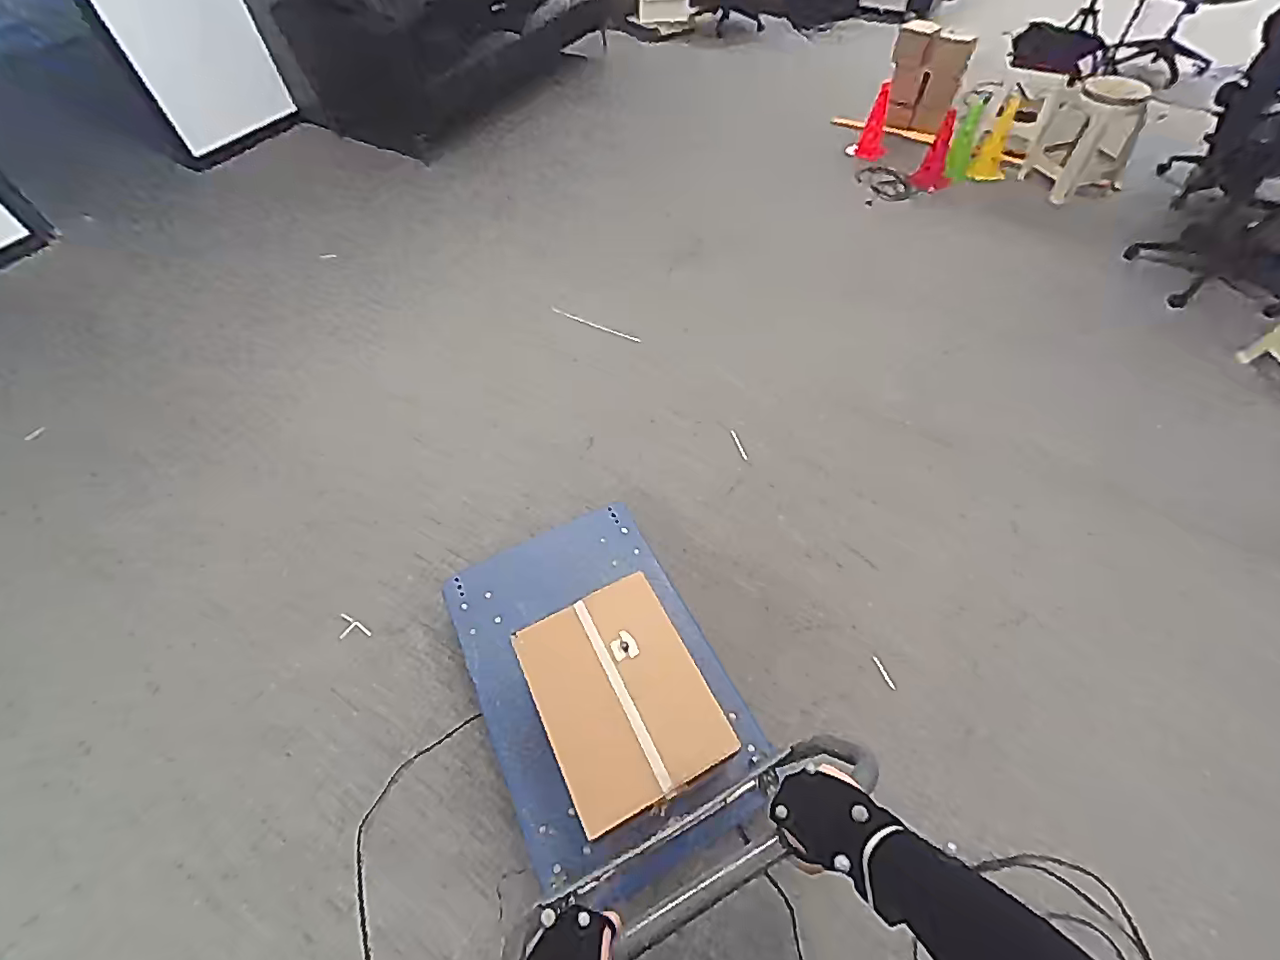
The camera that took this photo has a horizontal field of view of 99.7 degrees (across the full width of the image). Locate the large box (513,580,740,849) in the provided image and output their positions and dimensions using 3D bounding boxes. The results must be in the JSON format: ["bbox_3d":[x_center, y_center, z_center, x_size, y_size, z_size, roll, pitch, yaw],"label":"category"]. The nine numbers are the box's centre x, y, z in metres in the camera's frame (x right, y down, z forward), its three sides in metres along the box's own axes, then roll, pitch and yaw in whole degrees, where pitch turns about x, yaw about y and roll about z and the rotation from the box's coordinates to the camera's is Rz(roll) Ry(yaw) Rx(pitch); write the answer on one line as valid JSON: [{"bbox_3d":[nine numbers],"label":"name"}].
[{"bbox_3d":[-0.030,0.505,1.175,0.320,0.320,0.408,-24,56,-14],"label":"large box"}]
